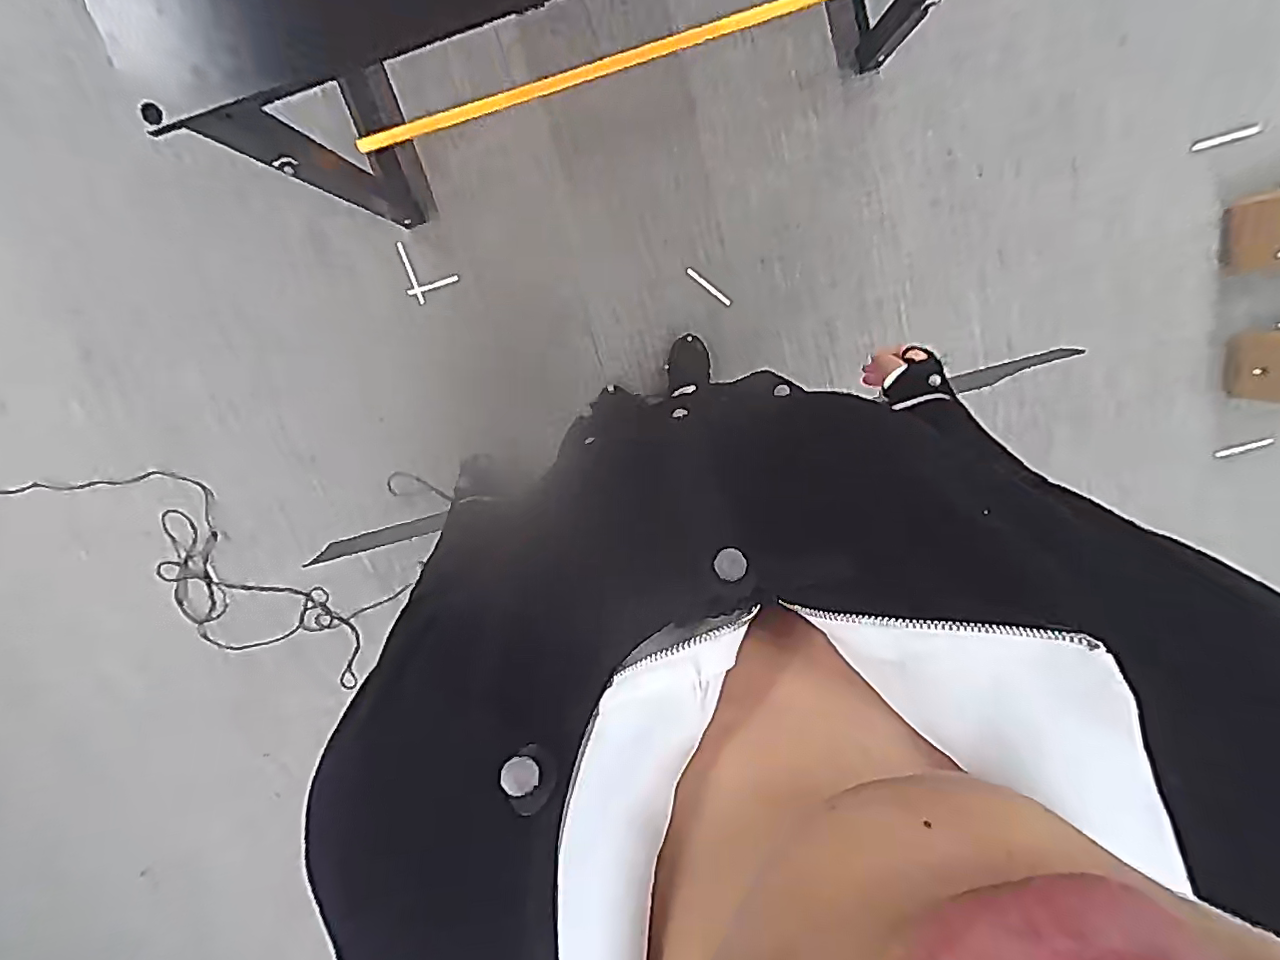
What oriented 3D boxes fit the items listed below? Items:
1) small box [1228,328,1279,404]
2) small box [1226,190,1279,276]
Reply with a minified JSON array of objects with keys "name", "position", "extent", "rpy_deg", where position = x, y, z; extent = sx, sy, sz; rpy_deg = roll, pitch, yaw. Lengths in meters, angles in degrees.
[{"name":"small box","position":[1.645,-0.291,1.356],"extent":[0.179,0.176,0.168],"rpy_deg":[-14,105,4]},{"name":"small box","position":[1.546,-0.592,1.270],"extent":[0.168,0.176,0.179],"rpy_deg":[-19,104,4]}]
